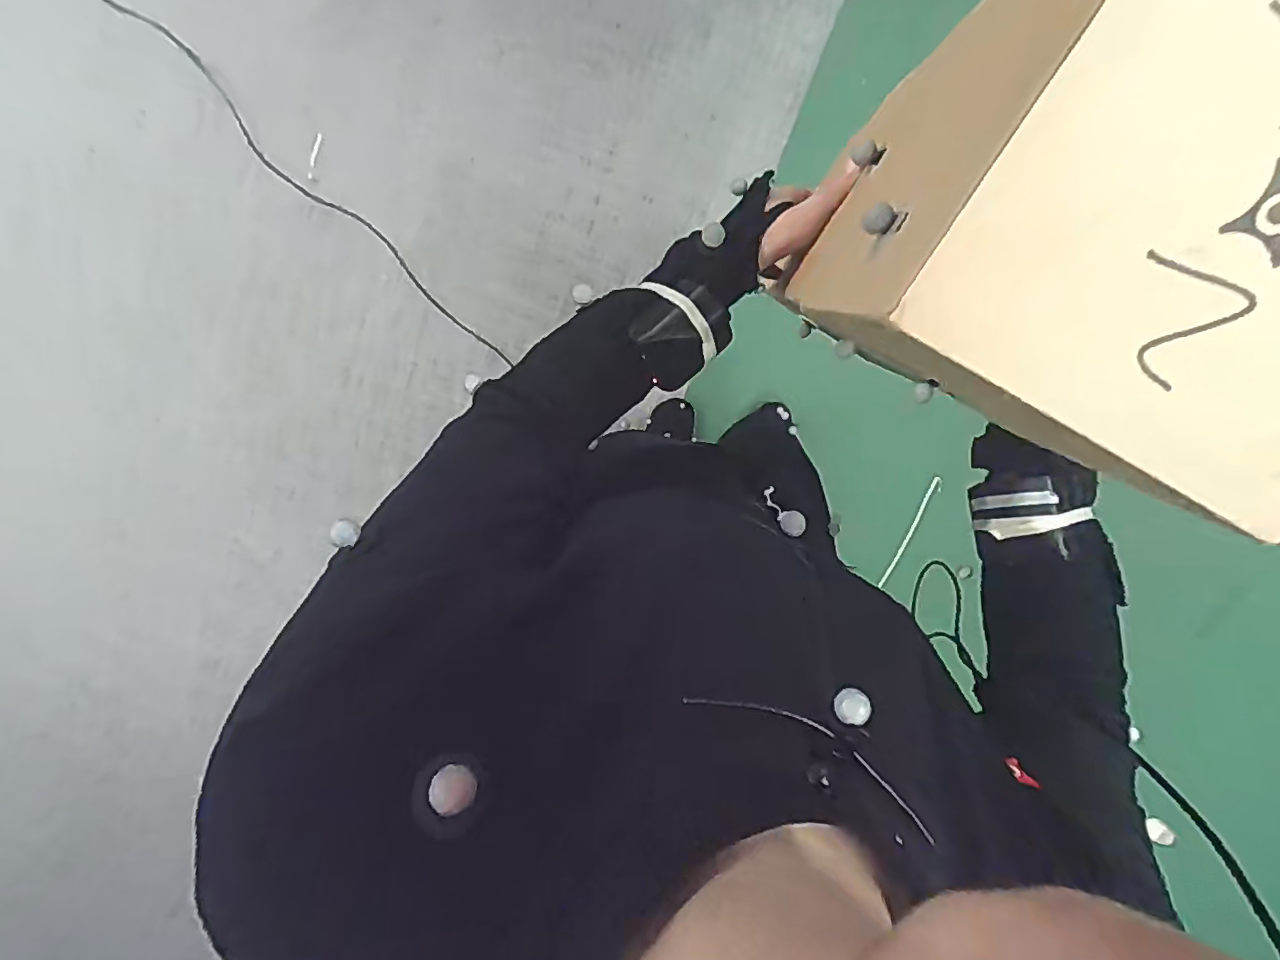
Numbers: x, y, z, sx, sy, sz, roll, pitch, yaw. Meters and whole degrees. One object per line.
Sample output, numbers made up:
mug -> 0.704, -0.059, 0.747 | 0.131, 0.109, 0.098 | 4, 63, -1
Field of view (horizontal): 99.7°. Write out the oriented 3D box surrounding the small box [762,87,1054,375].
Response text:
small box -> 0.237, -0.231, 0.538 | 0.168, 0.176, 0.179 | 30, 110, -5
